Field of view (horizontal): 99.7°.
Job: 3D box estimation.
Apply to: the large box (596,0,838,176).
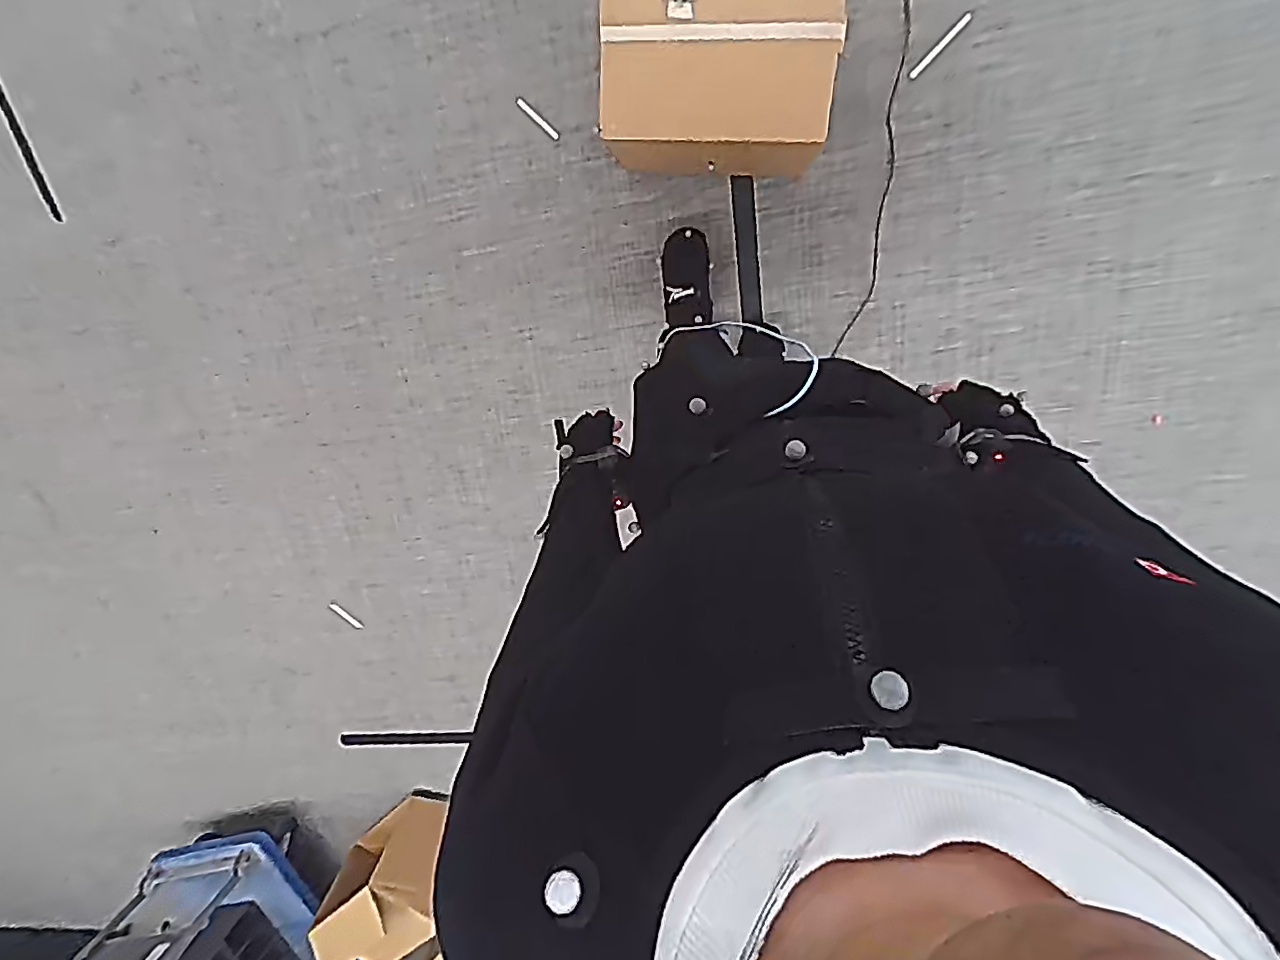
[{"bbox_3d":[0.146,-0.789,1.049,0.408,0.320,0.320,6,109,8],"label":"large box"}]
